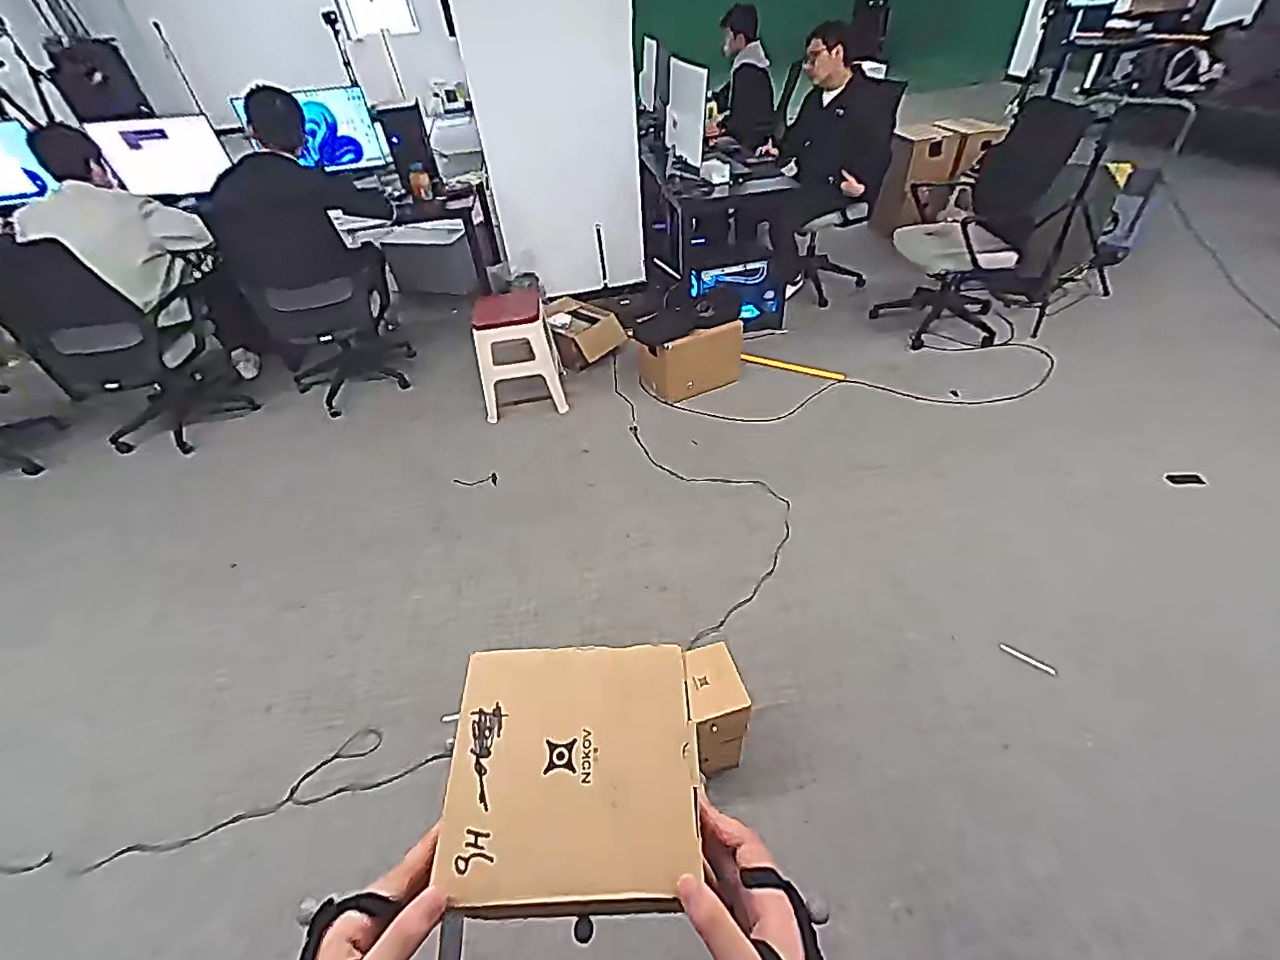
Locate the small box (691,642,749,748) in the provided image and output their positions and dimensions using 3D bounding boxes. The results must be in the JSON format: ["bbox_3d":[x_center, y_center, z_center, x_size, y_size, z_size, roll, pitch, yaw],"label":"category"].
[{"bbox_3d":[0.143,0.519,1.283,0.179,0.176,0.168,-13,44,-10],"label":"small box"}]

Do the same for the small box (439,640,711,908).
[{"bbox_3d":[-0.045,0.248,0.456,0.179,0.176,0.168,-1,48,-2],"label":"small box"}]

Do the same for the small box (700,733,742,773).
[{"bbox_3d":[0.147,0.640,1.393,0.179,0.176,0.168,-12,43,-7],"label":"small box"}]
